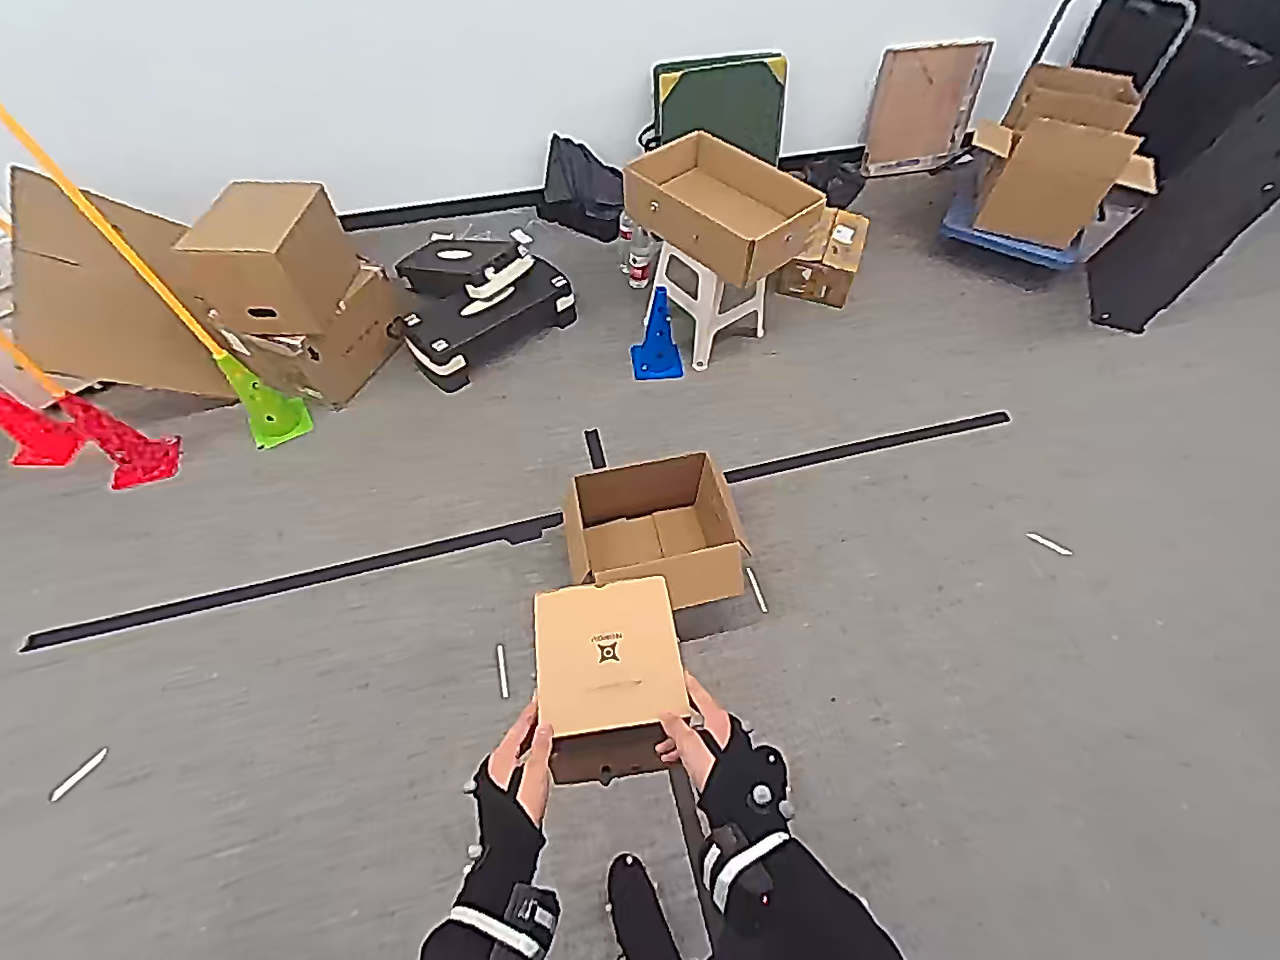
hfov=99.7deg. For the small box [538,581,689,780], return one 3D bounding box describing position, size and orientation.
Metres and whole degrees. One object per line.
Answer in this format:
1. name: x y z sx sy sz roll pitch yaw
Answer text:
1. small box: -0.039 0.255 0.693 0.168 0.176 0.179 -5 45 -6
